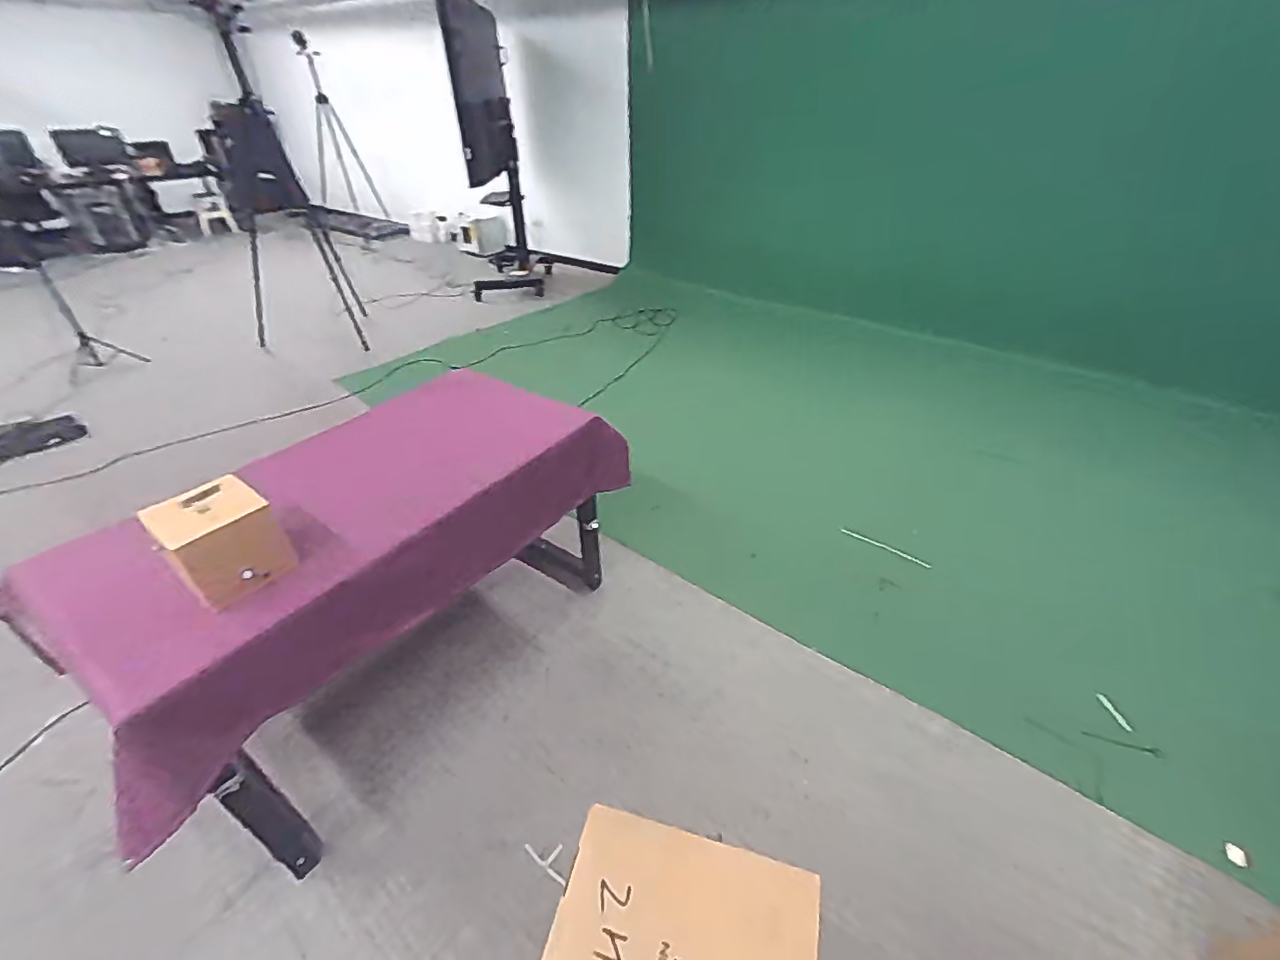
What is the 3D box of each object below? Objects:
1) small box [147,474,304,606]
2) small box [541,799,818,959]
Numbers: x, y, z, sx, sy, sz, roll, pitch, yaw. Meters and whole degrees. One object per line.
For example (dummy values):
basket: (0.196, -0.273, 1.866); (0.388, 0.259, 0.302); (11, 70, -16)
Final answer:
small box: (-0.818, 0.119, 1.079); (0.179, 0.176, 0.168); (24, 43, 29)
small box: (0.026, 0.376, 0.410); (0.179, 0.176, 0.168); (9, 47, 13)
